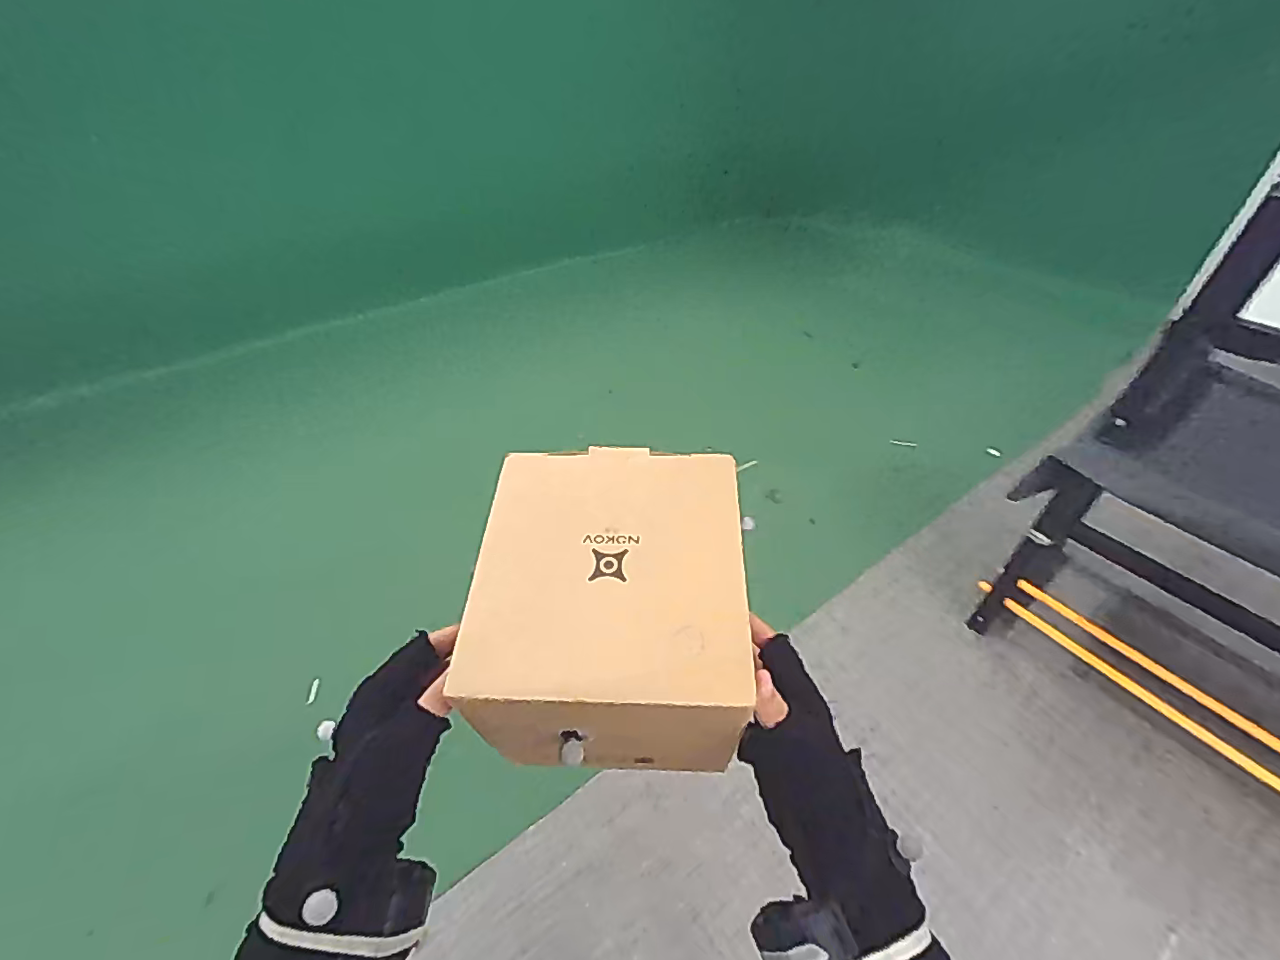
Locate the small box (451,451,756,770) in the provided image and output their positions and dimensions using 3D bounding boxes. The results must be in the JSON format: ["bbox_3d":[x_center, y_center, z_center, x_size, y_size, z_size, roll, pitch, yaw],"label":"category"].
[{"bbox_3d":[-0.013,0.098,0.394,0.168,0.176,0.179,1,49,3],"label":"small box"}]
